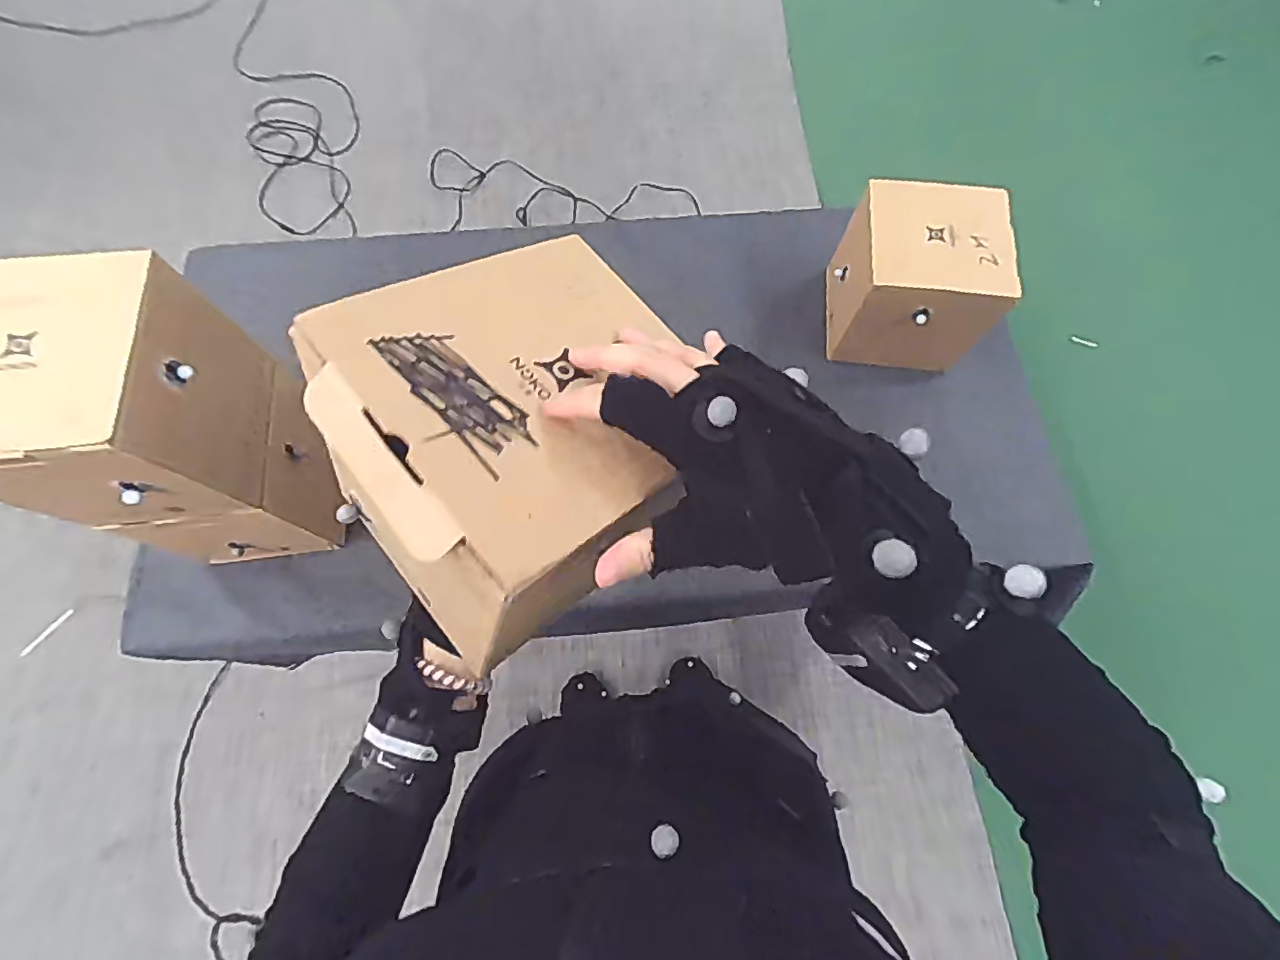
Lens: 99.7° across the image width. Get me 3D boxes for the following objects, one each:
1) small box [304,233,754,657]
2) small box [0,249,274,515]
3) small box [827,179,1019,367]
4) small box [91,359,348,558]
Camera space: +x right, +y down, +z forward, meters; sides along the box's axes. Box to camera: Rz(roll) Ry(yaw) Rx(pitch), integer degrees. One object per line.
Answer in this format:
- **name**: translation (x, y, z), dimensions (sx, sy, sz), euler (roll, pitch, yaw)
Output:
- **small box**: translation (-0.068, -0.017, 0.343), dimensions (0.179, 0.176, 0.168), euler (-34, 76, -34)
- **small box**: translation (-0.463, -0.072, 0.480), dimensions (0.168, 0.176, 0.179), euler (-5, 71, -4)
- **small box**: translation (0.363, -0.270, 0.731), dimensions (0.179, 0.176, 0.168), euler (7, 72, 1)
- **small box**: translation (-0.466, -0.018, 0.634), dimensions (0.168, 0.176, 0.179), euler (-7, 71, -4)
